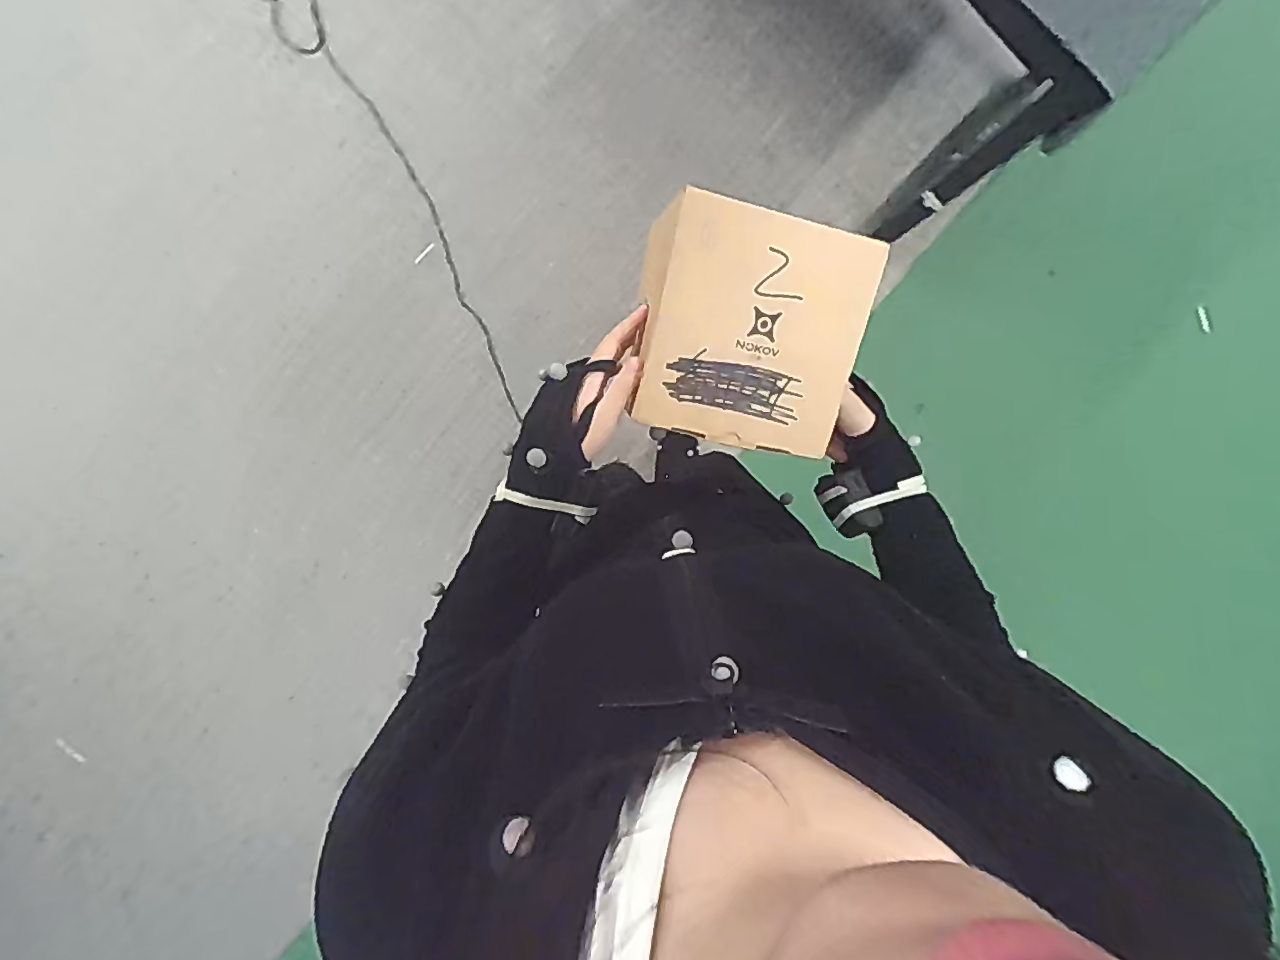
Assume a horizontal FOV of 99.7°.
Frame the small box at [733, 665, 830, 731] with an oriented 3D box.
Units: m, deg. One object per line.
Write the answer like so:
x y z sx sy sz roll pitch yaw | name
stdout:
0.379 0.640 1.489 0.179 0.176 0.168 42 94 -4 | small box

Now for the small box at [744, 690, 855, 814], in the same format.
0.381 0.655 1.324 0.179 0.176 0.168 45 94 -4 | small box
